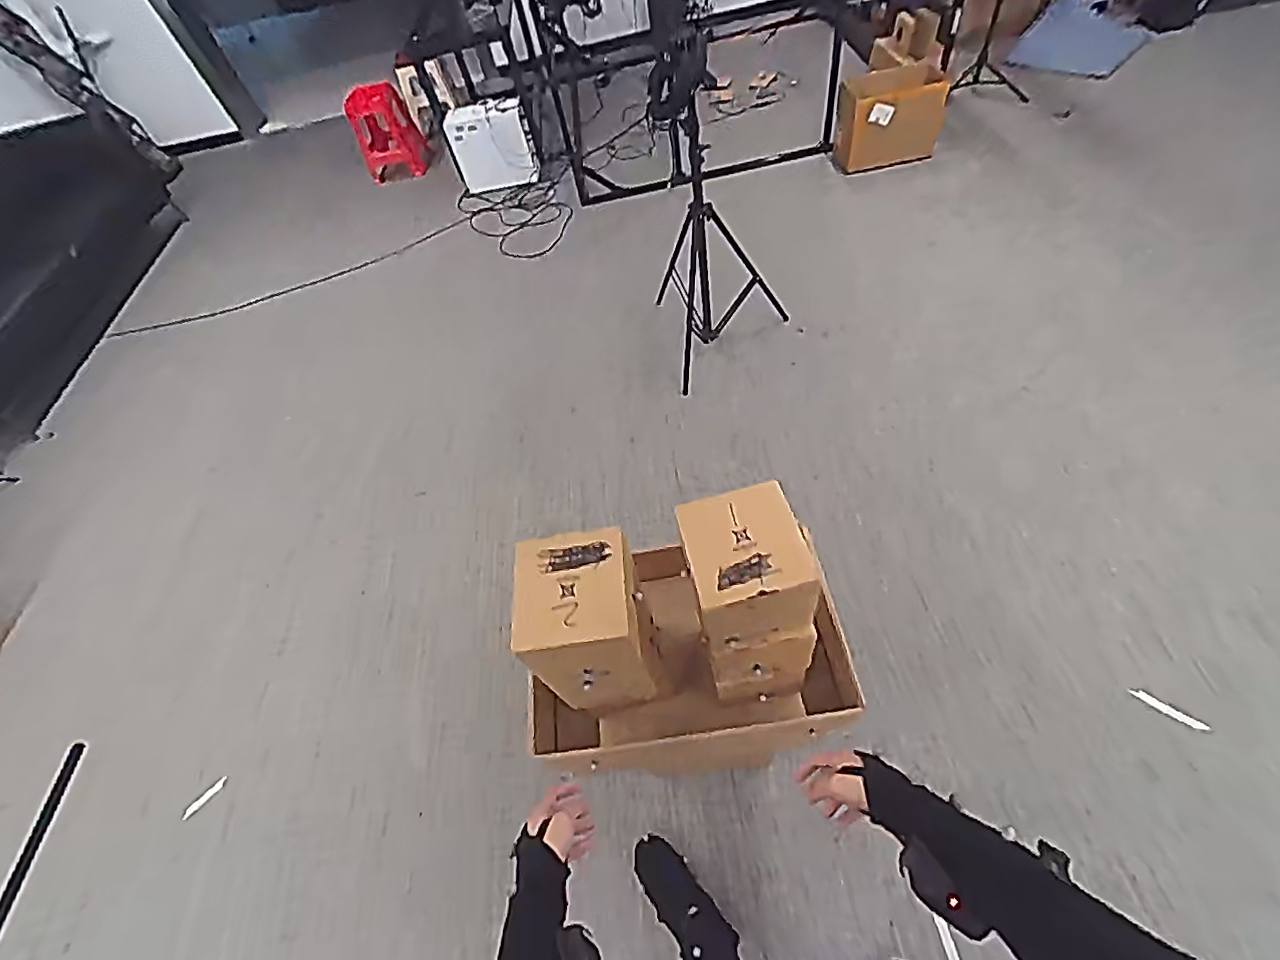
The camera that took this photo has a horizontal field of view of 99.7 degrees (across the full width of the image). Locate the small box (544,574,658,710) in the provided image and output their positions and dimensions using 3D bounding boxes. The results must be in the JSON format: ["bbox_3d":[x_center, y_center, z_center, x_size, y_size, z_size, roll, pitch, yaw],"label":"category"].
[{"bbox_3d":[-0.067,0.293,0.972,0.168,0.176,0.179,-11,52,5],"label":"small box"}]

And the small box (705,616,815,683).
[{"bbox_3d":[0.194,0.238,0.957,0.168,0.176,0.179,-13,54,3],"label":"small box"}]

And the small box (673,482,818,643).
[{"bbox_3d":[0.159,0.136,0.833,0.168,0.176,0.179,-15,53,1],"label":"small box"}]
